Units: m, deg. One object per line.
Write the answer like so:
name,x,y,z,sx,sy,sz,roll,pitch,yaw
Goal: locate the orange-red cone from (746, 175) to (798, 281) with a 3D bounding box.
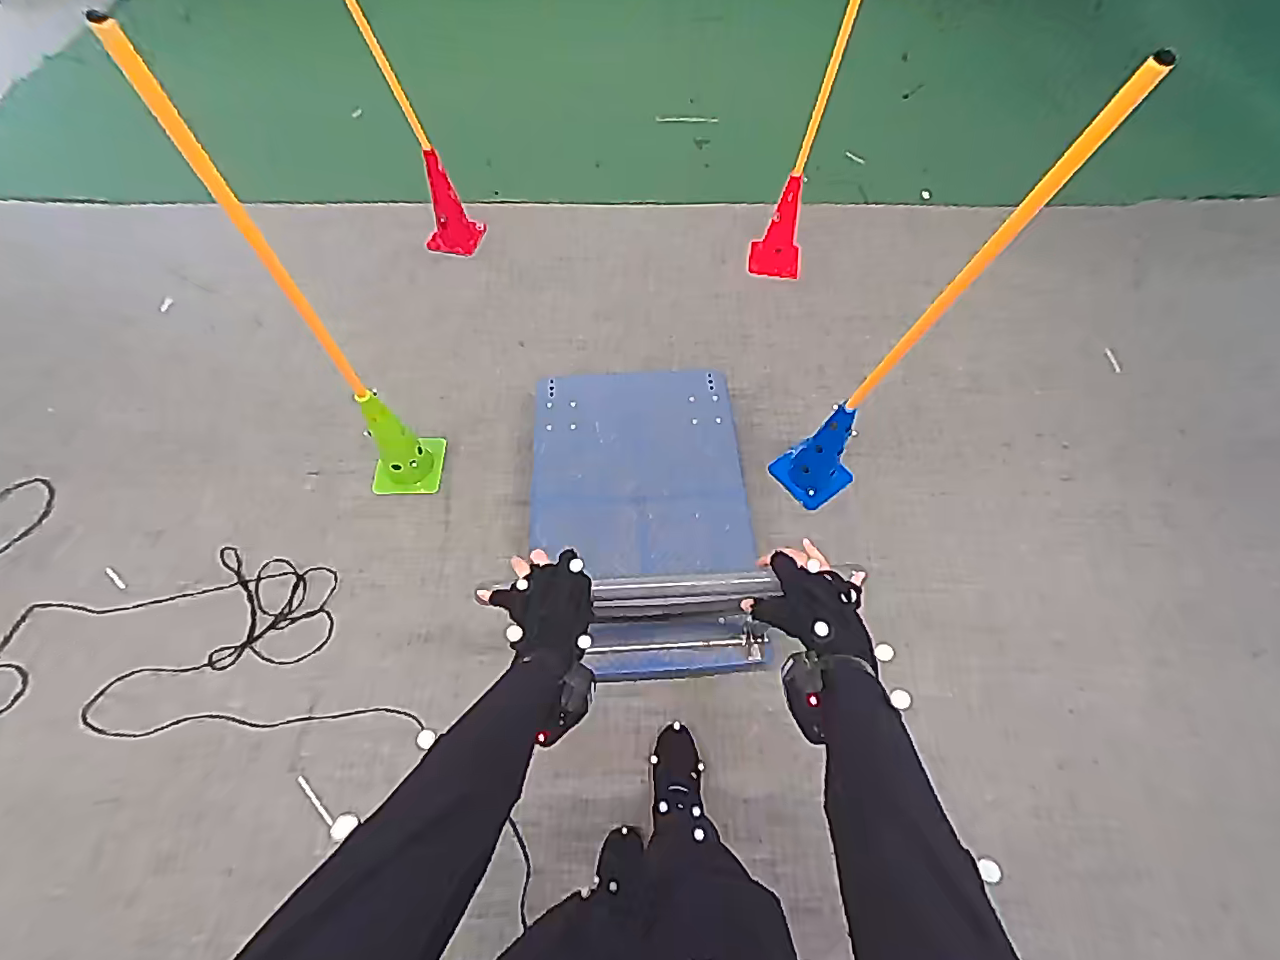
orange-red cone,0.530,-0.955,2.018,0.198,0.360,0.199,9,62,5
